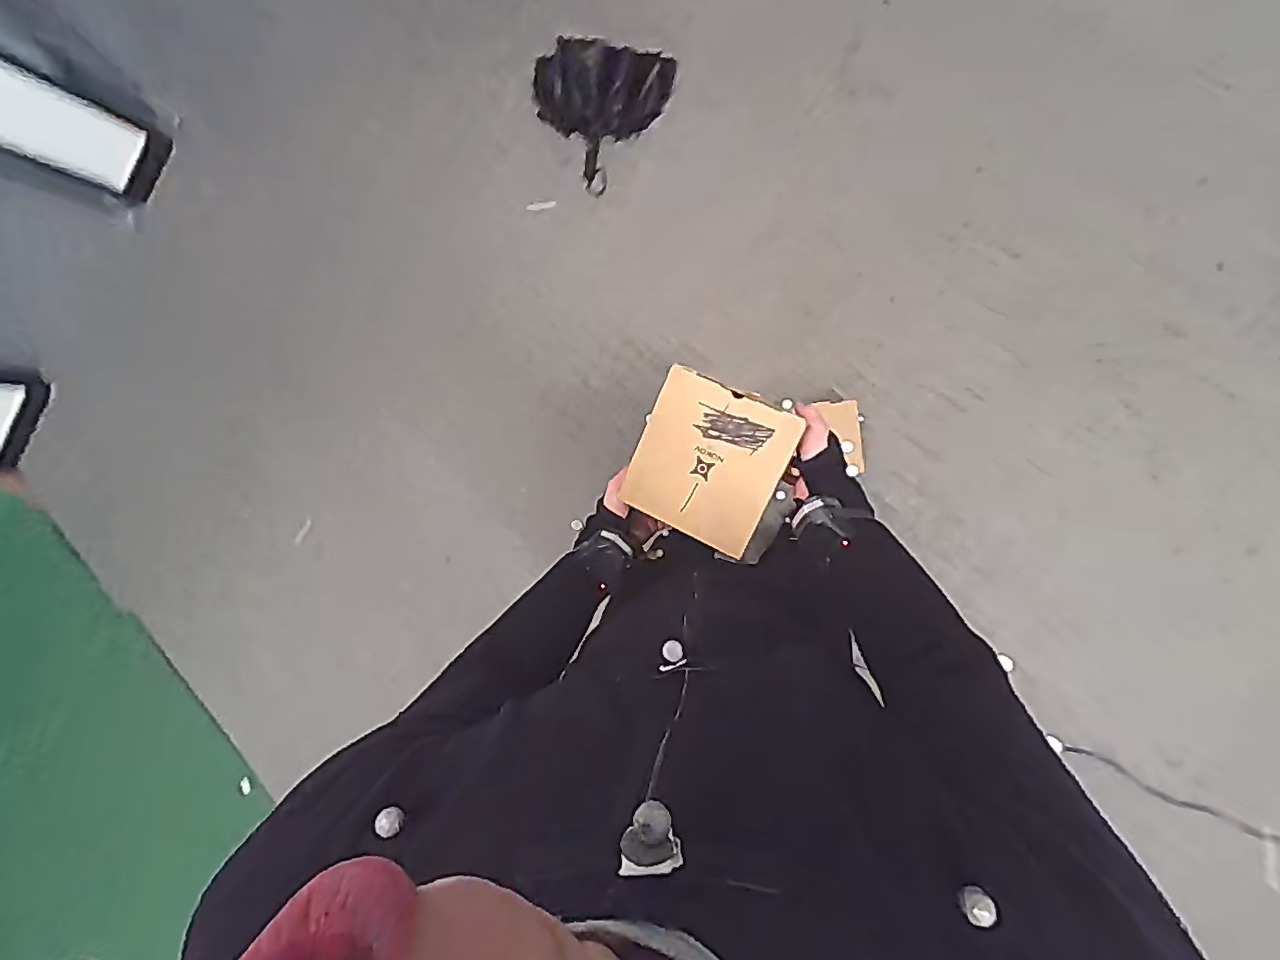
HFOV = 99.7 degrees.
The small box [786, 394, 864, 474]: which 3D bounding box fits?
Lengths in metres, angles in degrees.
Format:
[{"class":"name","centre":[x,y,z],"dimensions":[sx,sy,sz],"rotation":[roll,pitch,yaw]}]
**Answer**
[{"class":"small box","centre":[0.464,-0.110,1.369],"dimensions":[0.168,0.176,0.179],"rotation":[-7,91,19]}]
